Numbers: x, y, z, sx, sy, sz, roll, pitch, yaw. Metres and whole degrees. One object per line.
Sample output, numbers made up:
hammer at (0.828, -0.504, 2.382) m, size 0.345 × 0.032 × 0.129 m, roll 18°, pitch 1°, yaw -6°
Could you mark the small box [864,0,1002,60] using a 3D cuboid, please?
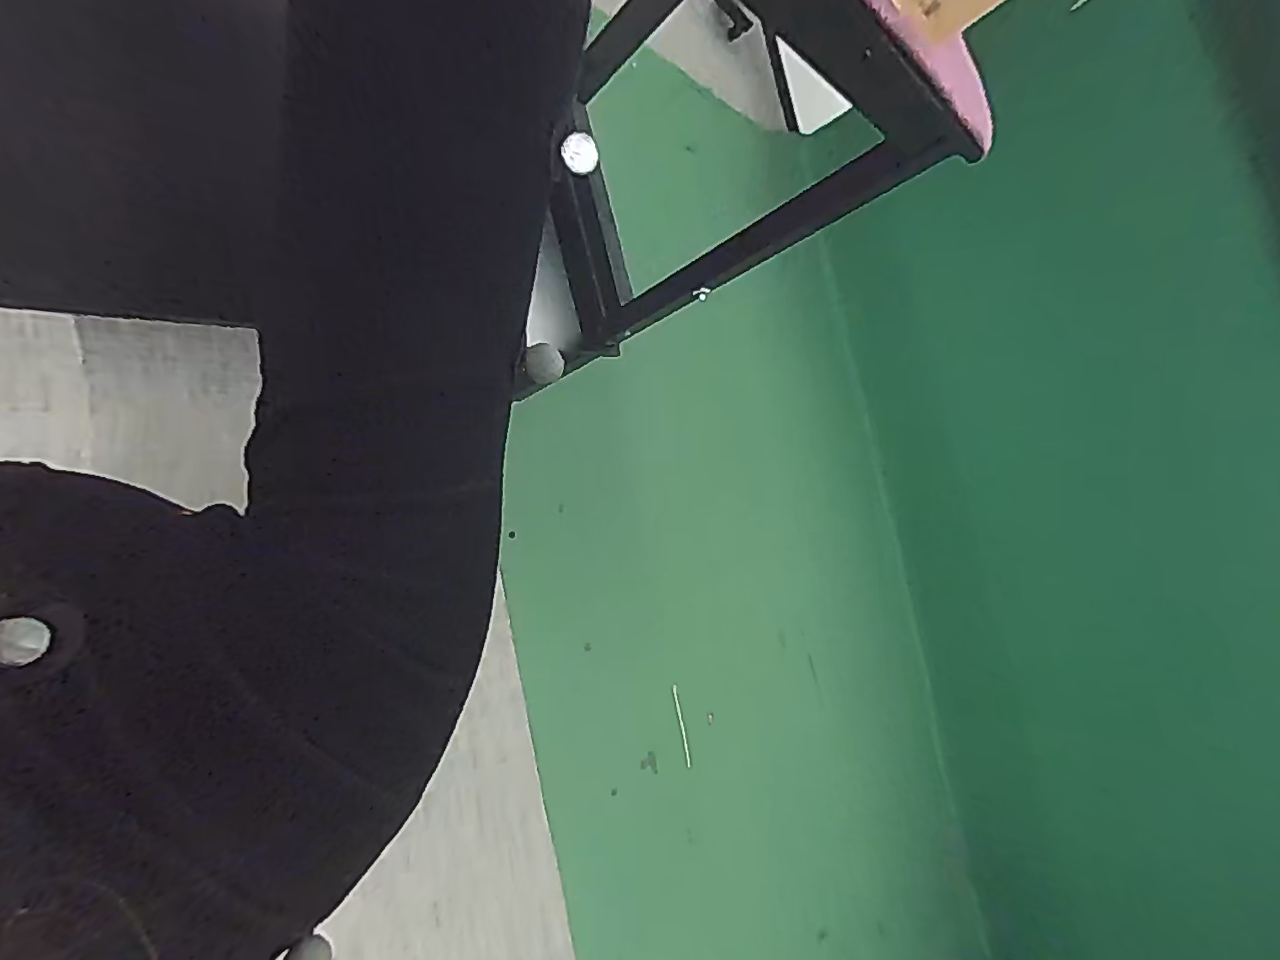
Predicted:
small box at (0.287, -0.558, 0.501) m, size 0.168 × 0.176 × 0.179 m, roll -6°, pitch 85°, yaw -45°
